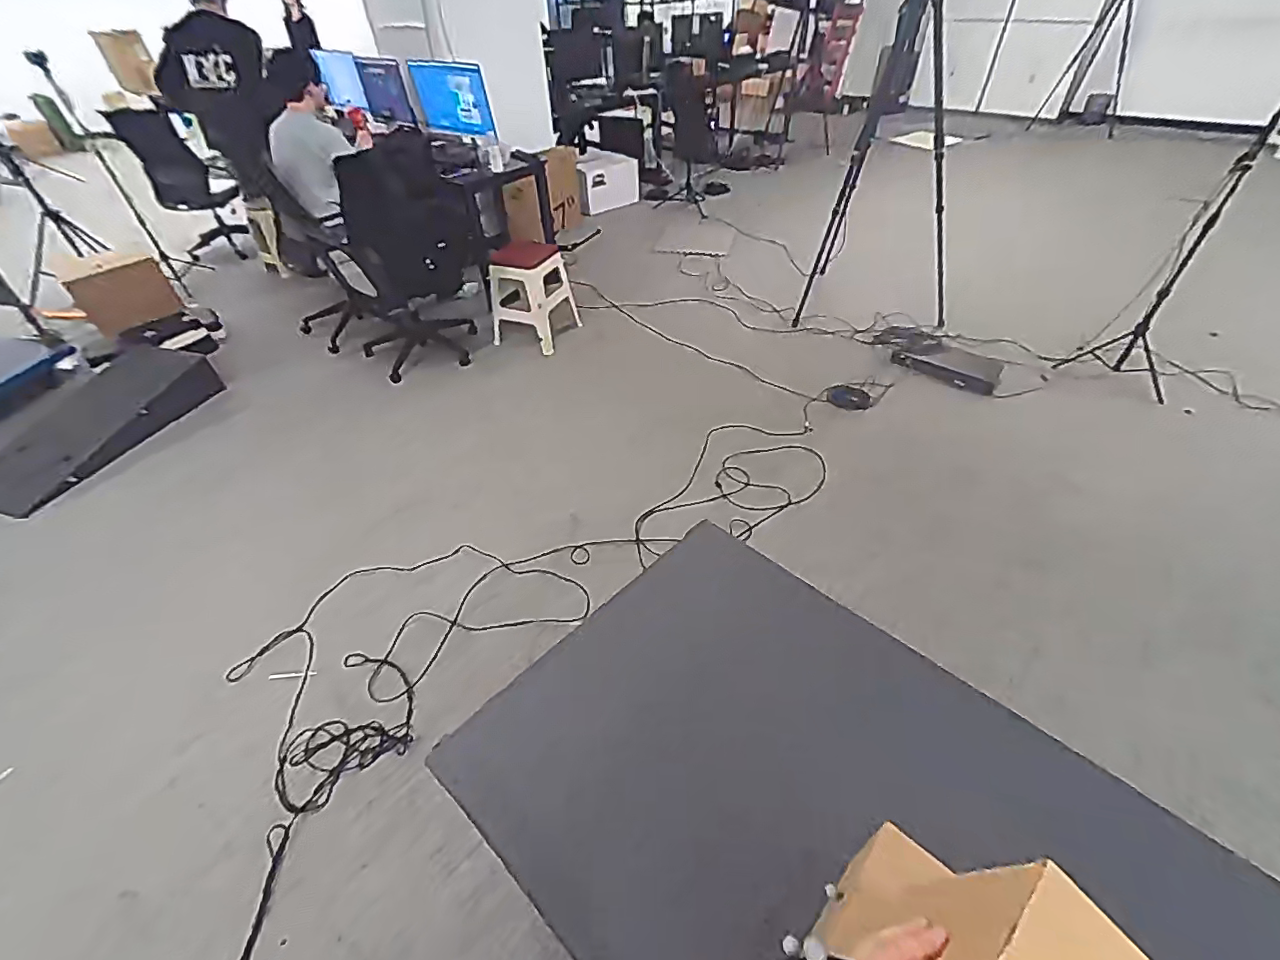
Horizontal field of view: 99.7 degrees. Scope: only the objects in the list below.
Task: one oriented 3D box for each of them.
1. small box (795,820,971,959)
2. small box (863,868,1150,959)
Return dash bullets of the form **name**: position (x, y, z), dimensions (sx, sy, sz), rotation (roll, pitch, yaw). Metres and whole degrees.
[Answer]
- **small box**: position (0.245, 0.468, 0.495), dimensions (0.168, 0.176, 0.179), rotation (31, 52, 32)
- **small box**: position (0.229, 0.377, 0.323), dimensions (0.179, 0.176, 0.168), rotation (-27, 61, -29)
